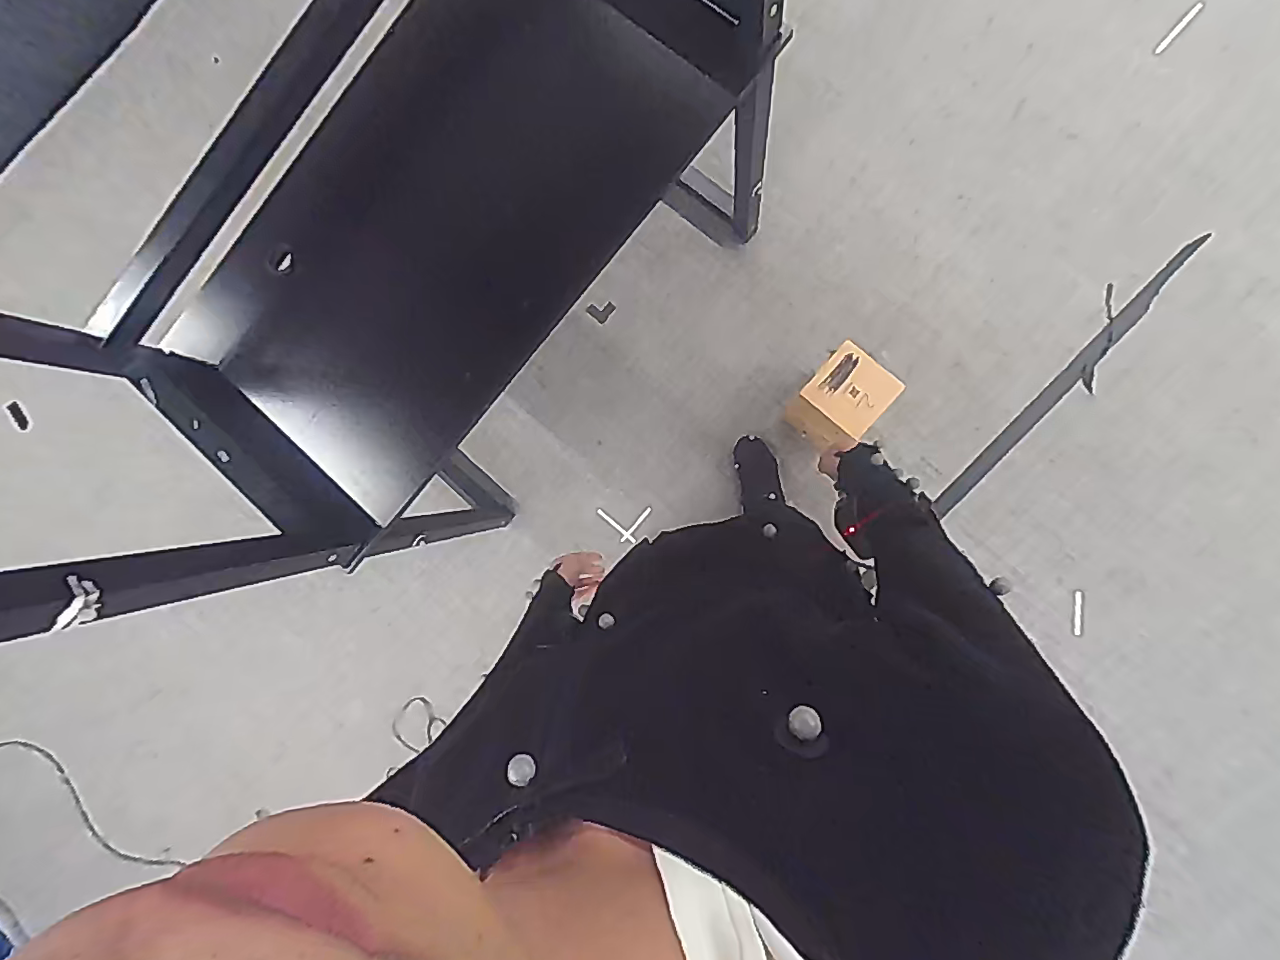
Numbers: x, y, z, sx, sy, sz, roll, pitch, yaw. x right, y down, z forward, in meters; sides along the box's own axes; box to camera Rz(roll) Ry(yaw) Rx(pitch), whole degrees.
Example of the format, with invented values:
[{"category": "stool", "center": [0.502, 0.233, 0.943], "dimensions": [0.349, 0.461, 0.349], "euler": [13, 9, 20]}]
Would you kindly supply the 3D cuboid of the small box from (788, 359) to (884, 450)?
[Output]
[{"category": "small box", "center": [0.523, -0.198, 1.476], "dimensions": [0.168, 0.176, 0.179], "euler": [40, 97, 7]}]
